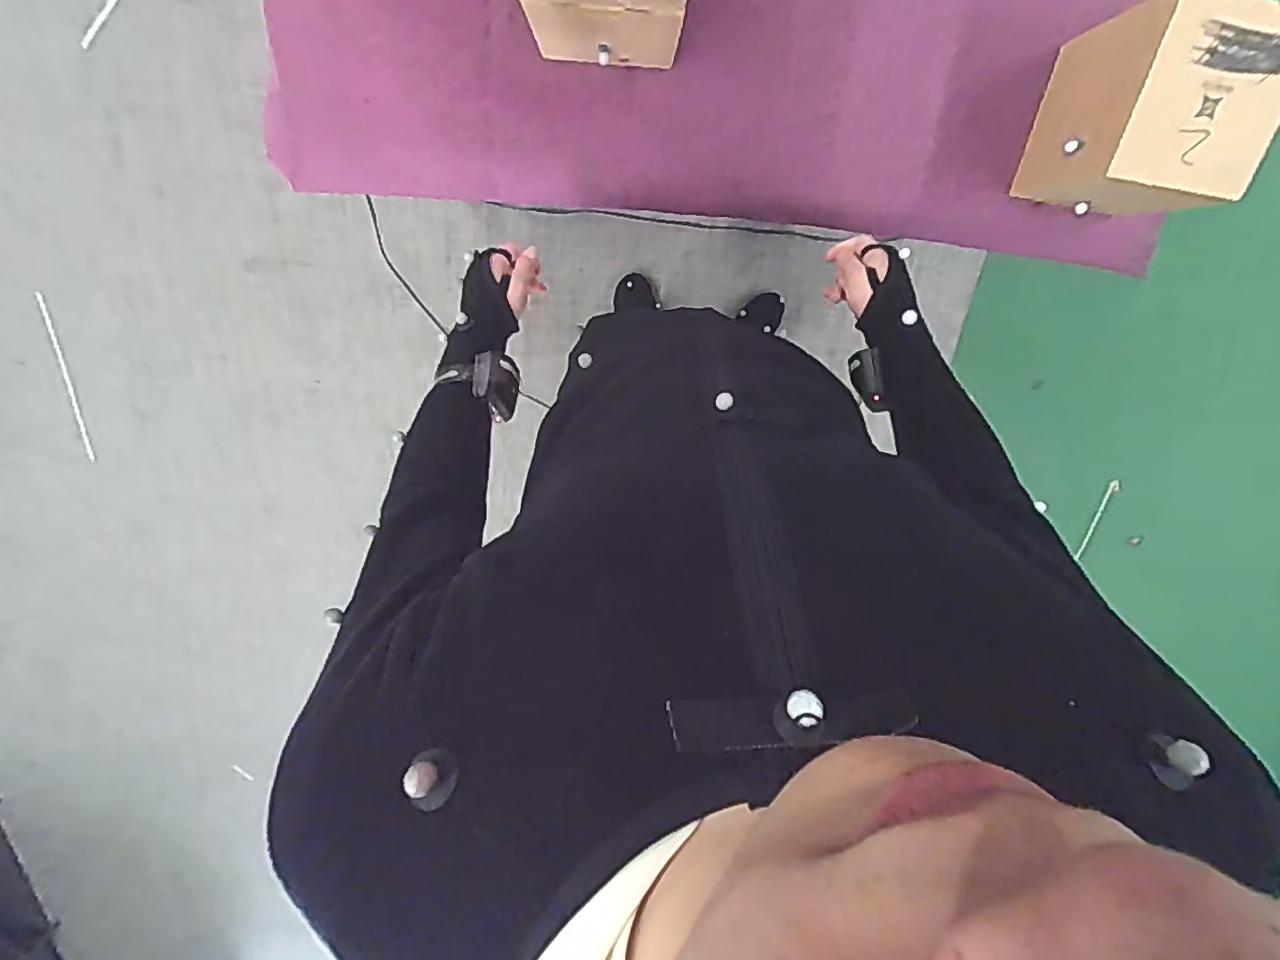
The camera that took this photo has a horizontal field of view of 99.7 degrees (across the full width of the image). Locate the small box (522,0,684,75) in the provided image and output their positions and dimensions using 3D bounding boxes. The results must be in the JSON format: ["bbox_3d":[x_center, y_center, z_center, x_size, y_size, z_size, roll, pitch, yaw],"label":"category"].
[{"bbox_3d":[-0.034,-0.573,0.580,0.168,0.176,0.179,3,112,-2],"label":"small box"}]

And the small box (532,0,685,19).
[{"bbox_3d":[-0.030,-0.514,0.427,0.168,0.176,0.179,3,111,-2],"label":"small box"}]
